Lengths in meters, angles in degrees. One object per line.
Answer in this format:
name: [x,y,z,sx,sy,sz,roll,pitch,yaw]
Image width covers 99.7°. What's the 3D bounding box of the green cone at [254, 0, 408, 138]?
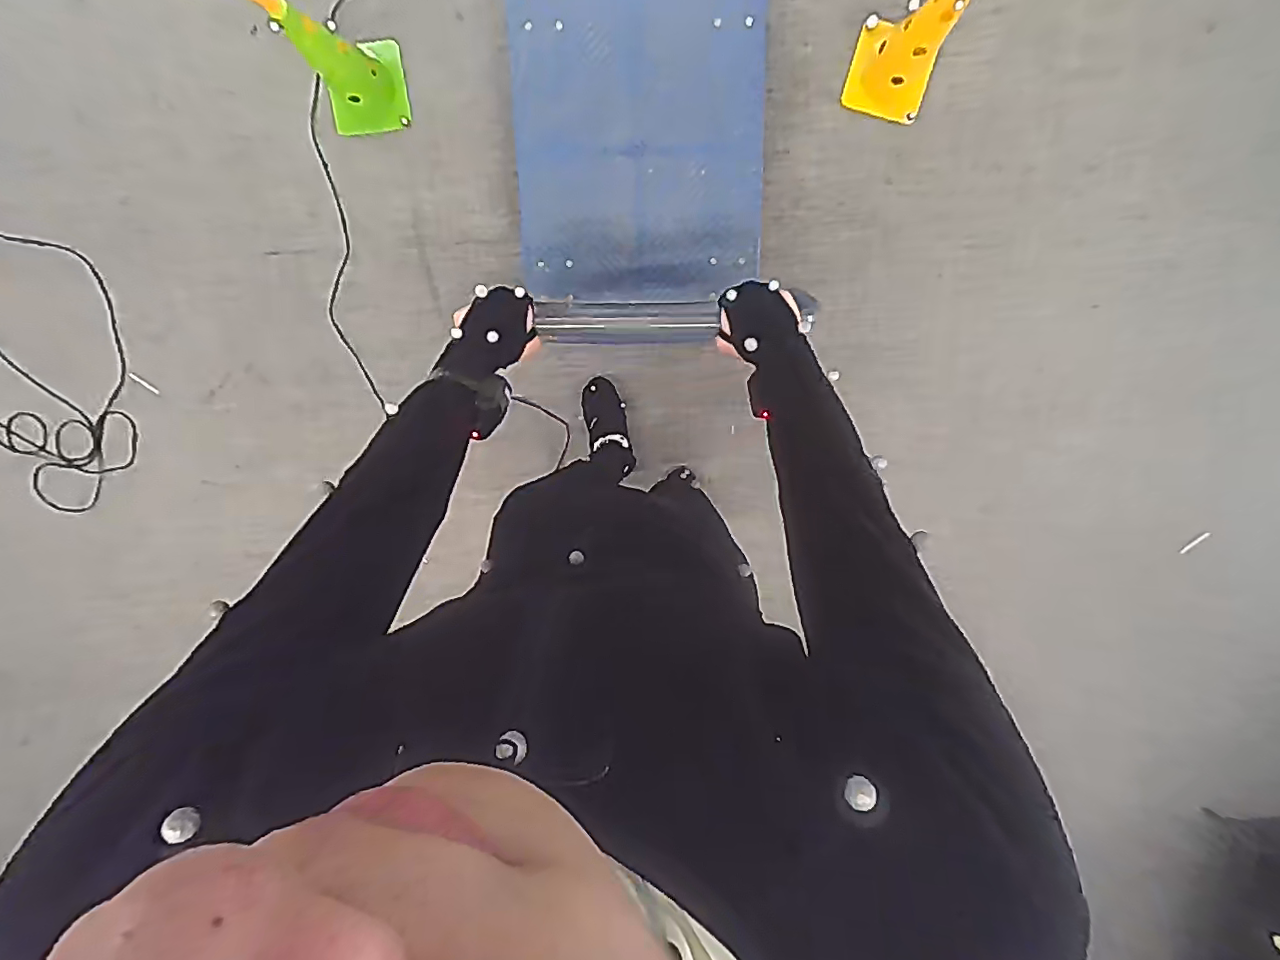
green cone: [-0.714,-0.960,1.217,0.202,0.368,0.200,-6,103,4]
